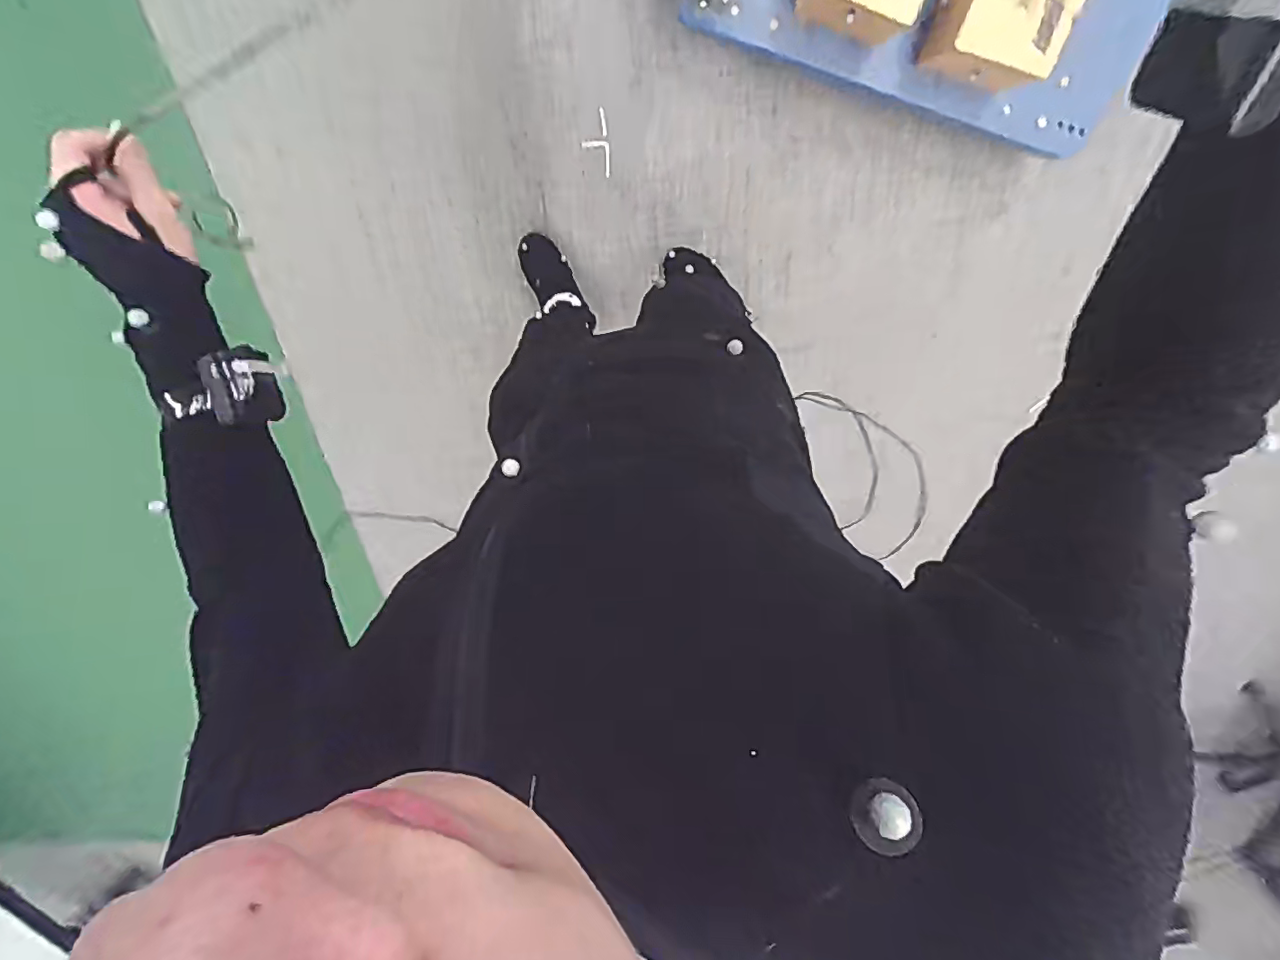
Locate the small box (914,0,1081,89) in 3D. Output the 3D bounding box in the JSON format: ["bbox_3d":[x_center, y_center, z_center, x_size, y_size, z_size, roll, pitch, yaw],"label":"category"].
[{"bbox_3d":[0.626,-0.812,0.948,0.179,0.176,0.168,15,118,-5],"label":"small box"}]

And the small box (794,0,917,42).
[{"bbox_3d":[0.388,-0.884,0.922,0.179,0.176,0.168,17,118,-6],"label":"small box"}]
